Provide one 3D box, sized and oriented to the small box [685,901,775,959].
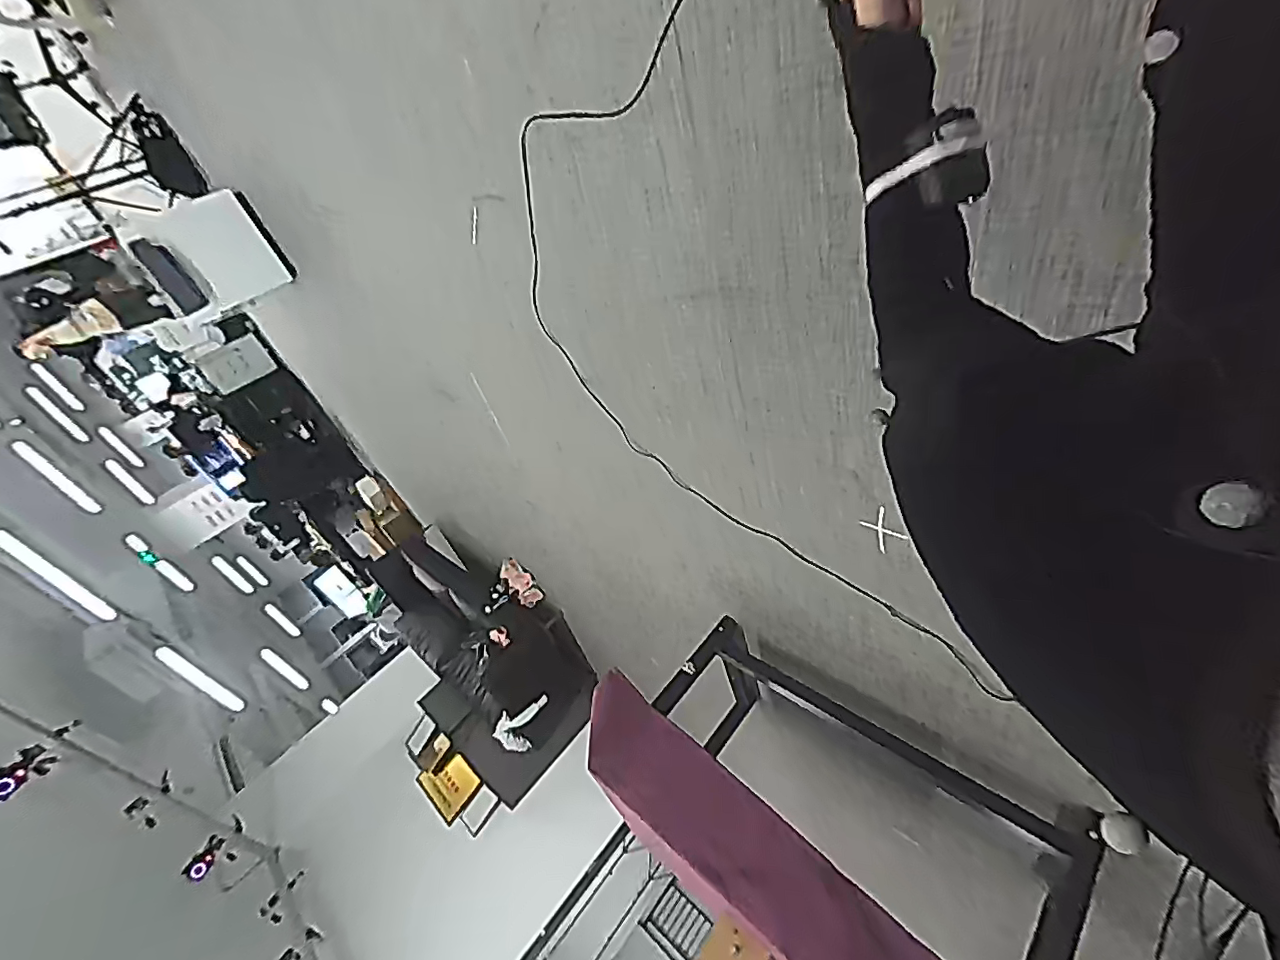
[{"bbox_3d":[0.260,1.346,1.518,0.168,0.176,0.179,14,137,47],"label":"small box"}]
